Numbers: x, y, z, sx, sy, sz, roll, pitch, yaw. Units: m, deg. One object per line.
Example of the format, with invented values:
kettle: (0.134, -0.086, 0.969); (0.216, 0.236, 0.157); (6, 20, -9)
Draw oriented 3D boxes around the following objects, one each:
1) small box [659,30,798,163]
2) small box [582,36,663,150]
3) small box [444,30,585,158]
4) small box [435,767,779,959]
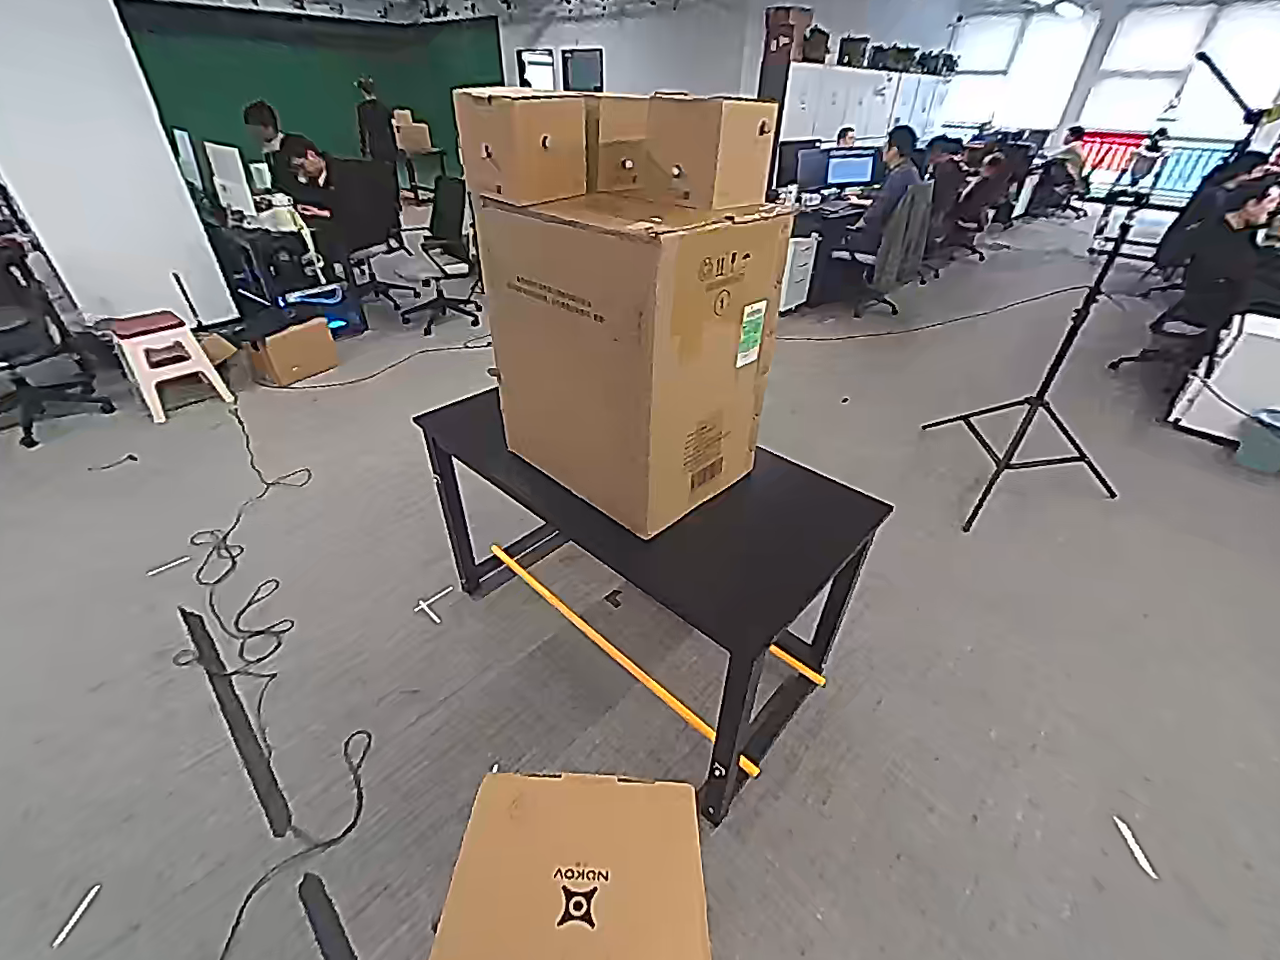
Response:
small box: (0.143, -0.651, 0.928); (0.168, 0.176, 0.179); (28, 41, 33)
small box: (-0.073, -0.766, 1.078); (0.179, 0.176, 0.168); (32, 45, 33)
small box: (-0.208, -0.679, 0.950); (0.168, 0.176, 0.179); (29, 47, 27)
small box: (-0.021, 0.295, 0.299); (0.168, 0.176, 0.179); (3, 24, -3)
